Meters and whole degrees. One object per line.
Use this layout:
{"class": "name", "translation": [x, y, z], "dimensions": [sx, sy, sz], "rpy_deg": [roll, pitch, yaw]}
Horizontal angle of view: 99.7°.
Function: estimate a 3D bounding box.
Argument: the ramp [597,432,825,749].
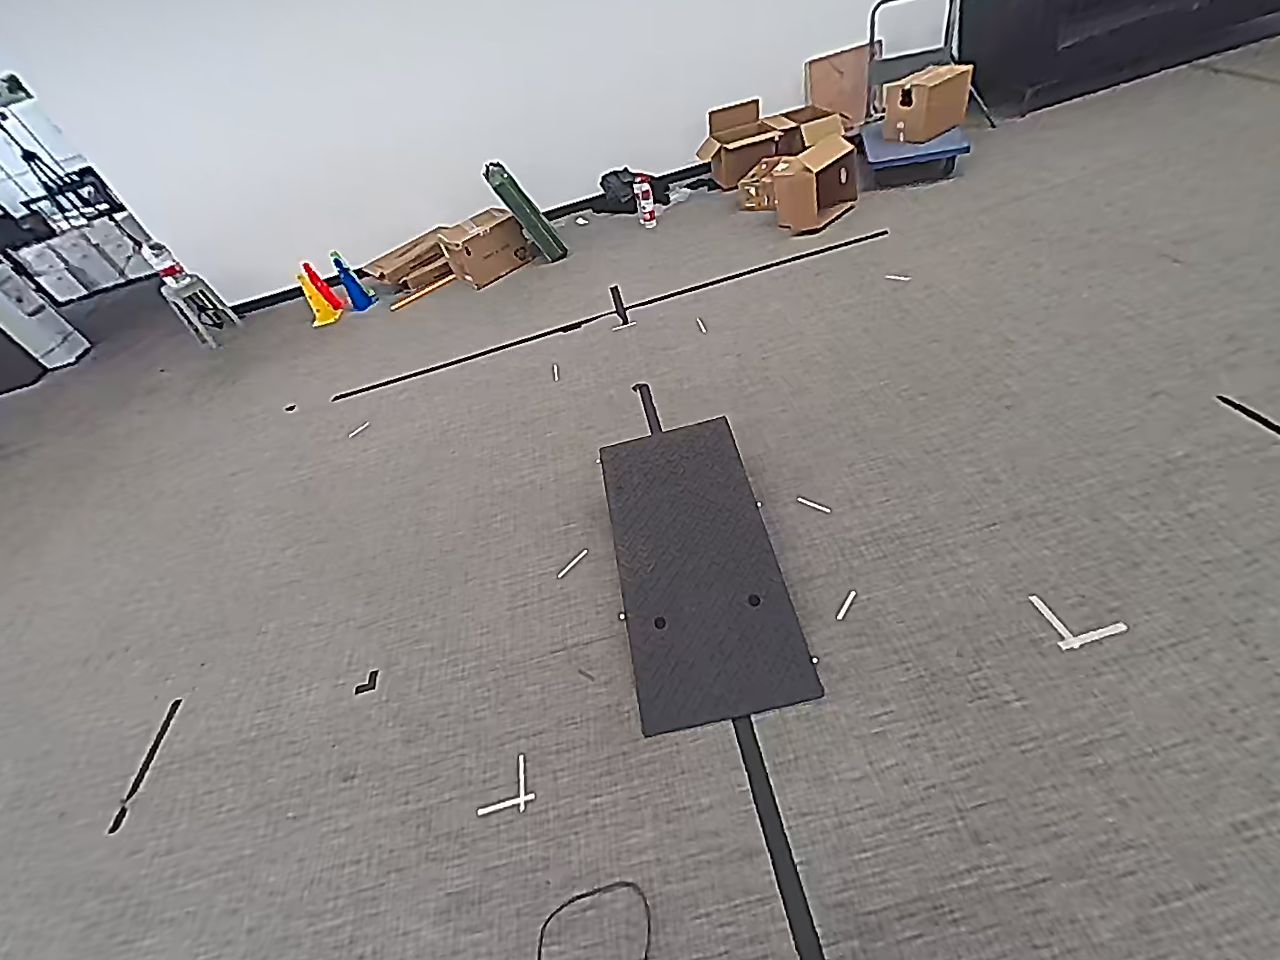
{"class": "ramp", "translation": [0.168, 0.271, 1.729], "dimensions": [0.509, 0.206, 0.991], "rpy_deg": [-16, 43, 1]}
